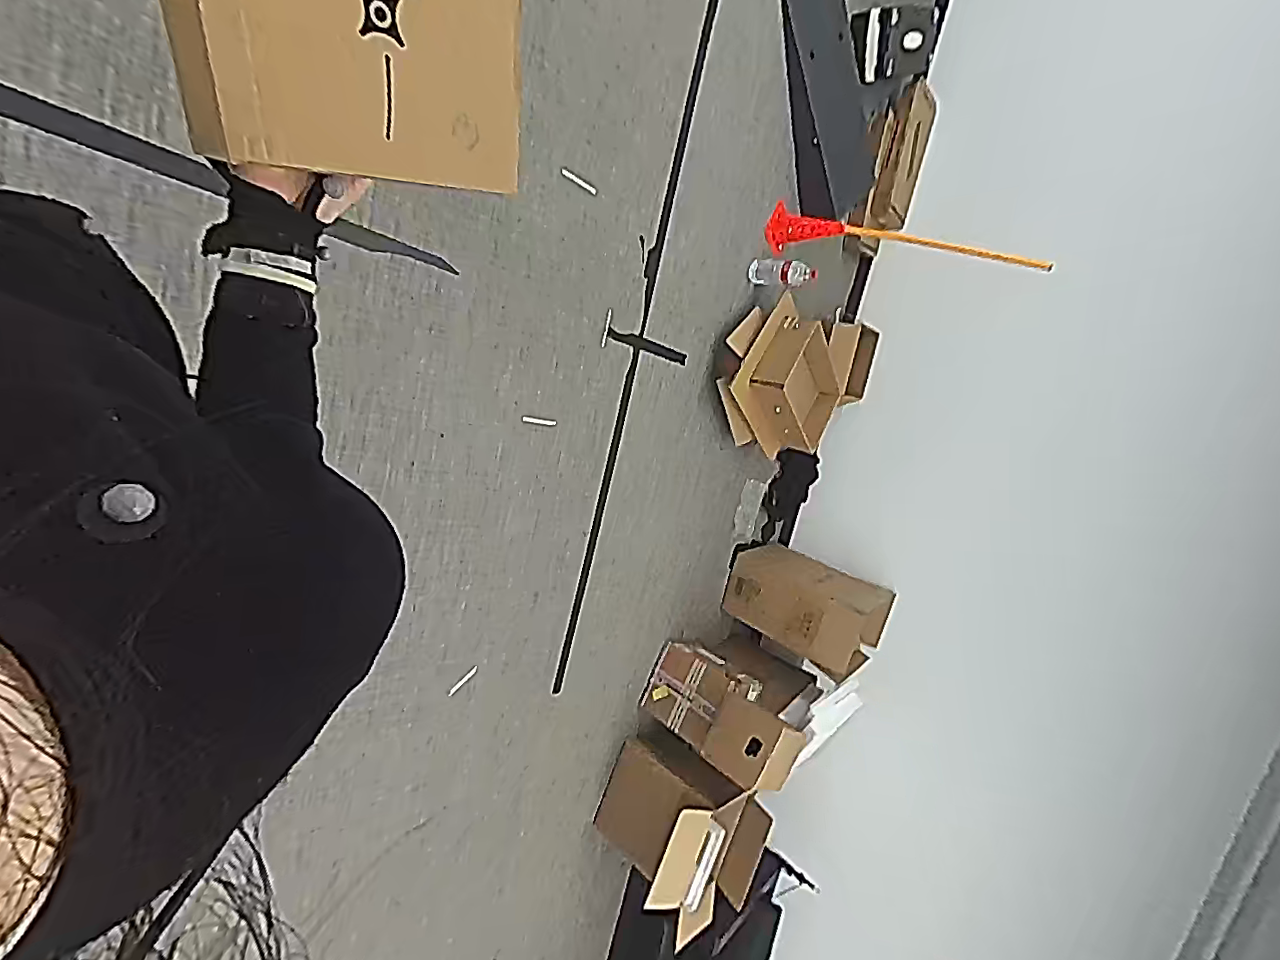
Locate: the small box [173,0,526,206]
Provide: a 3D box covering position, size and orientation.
[{"bbox_3d":[-0.189,-0.290,0.349,0.168,0.176,0.179,-15,125,-39],"label":"small box"}]
